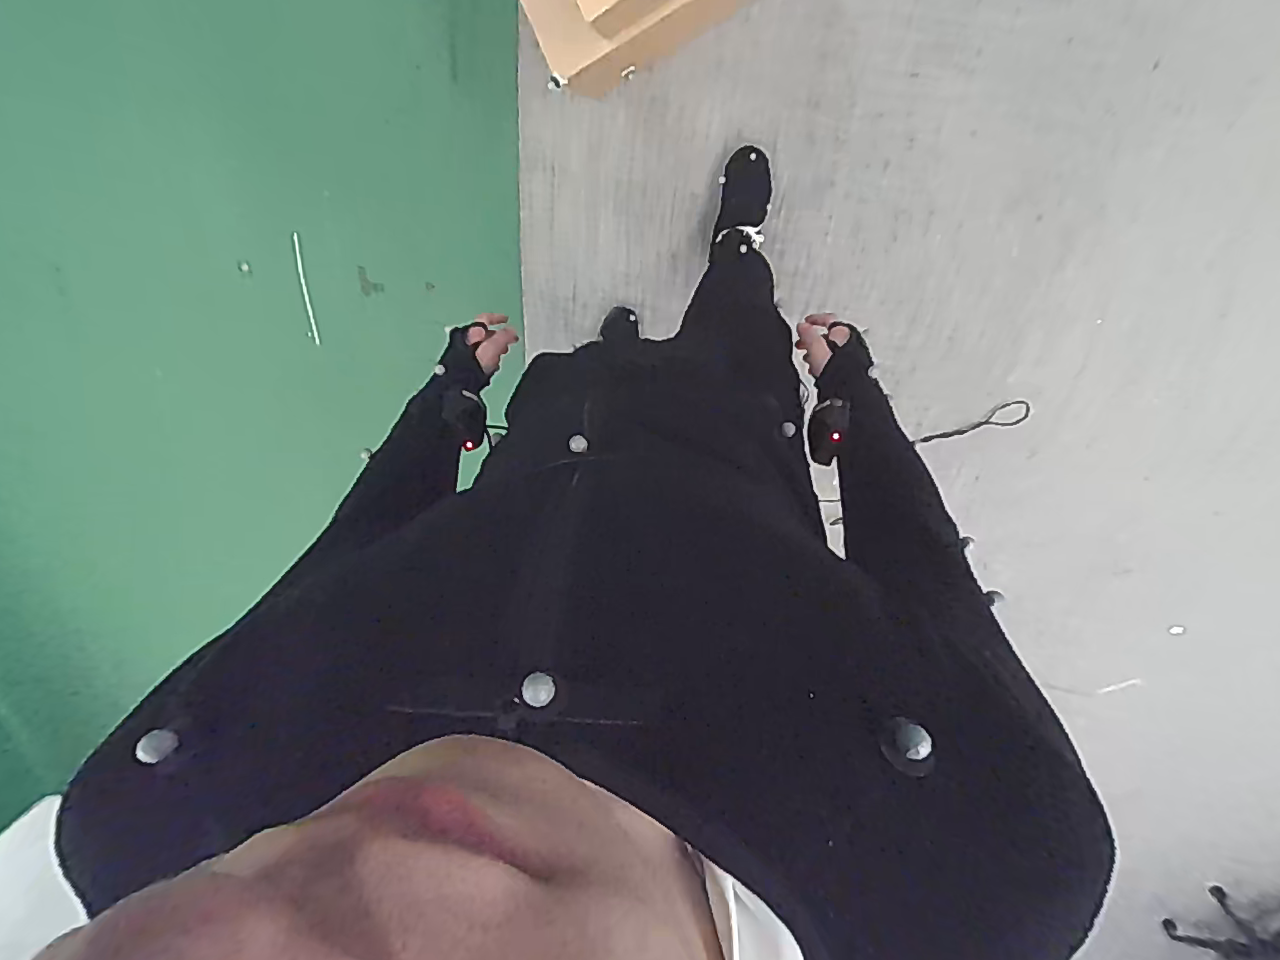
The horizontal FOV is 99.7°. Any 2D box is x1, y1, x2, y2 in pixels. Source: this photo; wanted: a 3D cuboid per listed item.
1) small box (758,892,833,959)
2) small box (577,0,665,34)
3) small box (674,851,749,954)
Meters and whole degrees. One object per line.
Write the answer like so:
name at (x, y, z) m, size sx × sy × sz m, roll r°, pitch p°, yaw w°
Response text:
small box at (0.448, 1.334, 1.566) m, size 0.179 × 0.176 × 0.168 m, roll 9°, pitch 122°, yaw 4°
small box at (-0.027, -0.812, 0.805) m, size 0.179 × 0.176 × 0.168 m, roll -18°, pitch 117°, yaw 19°
small box at (0.197, 1.166, 1.501) m, size 0.179 × 0.176 × 0.168 m, roll 9°, pitch 123°, yaw 3°
